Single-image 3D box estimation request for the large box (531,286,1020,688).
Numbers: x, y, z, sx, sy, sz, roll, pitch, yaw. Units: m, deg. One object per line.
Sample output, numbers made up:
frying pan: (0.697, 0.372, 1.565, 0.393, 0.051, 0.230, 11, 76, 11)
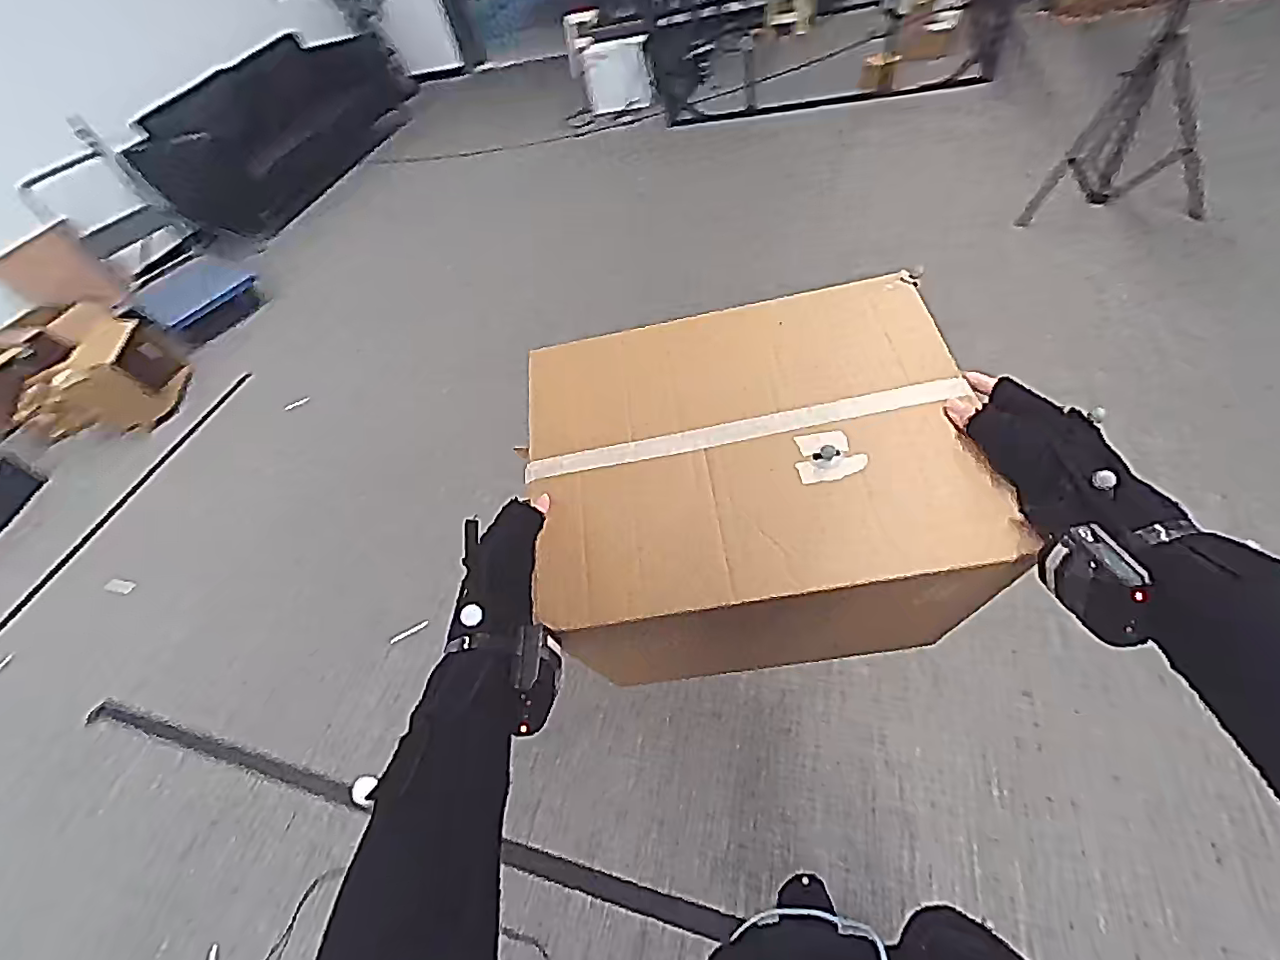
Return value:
large box: (0.114, 0.033, 0.643, 0.408, 0.320, 0.320, -11, 60, 5)
